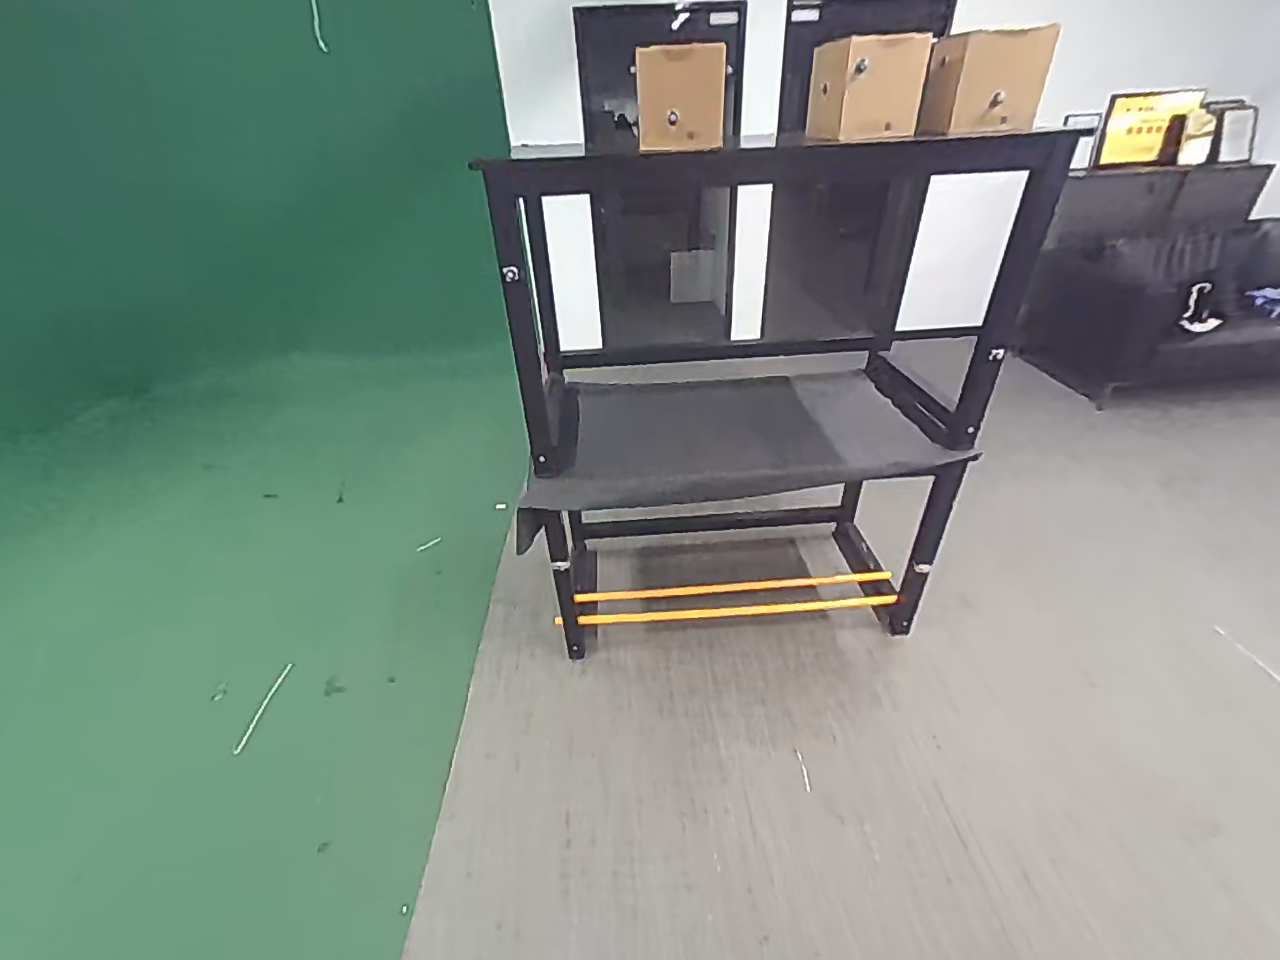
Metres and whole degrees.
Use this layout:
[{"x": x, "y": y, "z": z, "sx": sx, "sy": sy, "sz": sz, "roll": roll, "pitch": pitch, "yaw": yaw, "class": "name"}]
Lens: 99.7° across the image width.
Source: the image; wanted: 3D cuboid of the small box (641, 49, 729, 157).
[{"x": 0.091, "y": -0.765, "z": 1.106, "sx": 0.168, "sy": 0.176, "sz": 0.179, "roll": 1, "pitch": 34, "yaw": 5, "class": "small box"}]
